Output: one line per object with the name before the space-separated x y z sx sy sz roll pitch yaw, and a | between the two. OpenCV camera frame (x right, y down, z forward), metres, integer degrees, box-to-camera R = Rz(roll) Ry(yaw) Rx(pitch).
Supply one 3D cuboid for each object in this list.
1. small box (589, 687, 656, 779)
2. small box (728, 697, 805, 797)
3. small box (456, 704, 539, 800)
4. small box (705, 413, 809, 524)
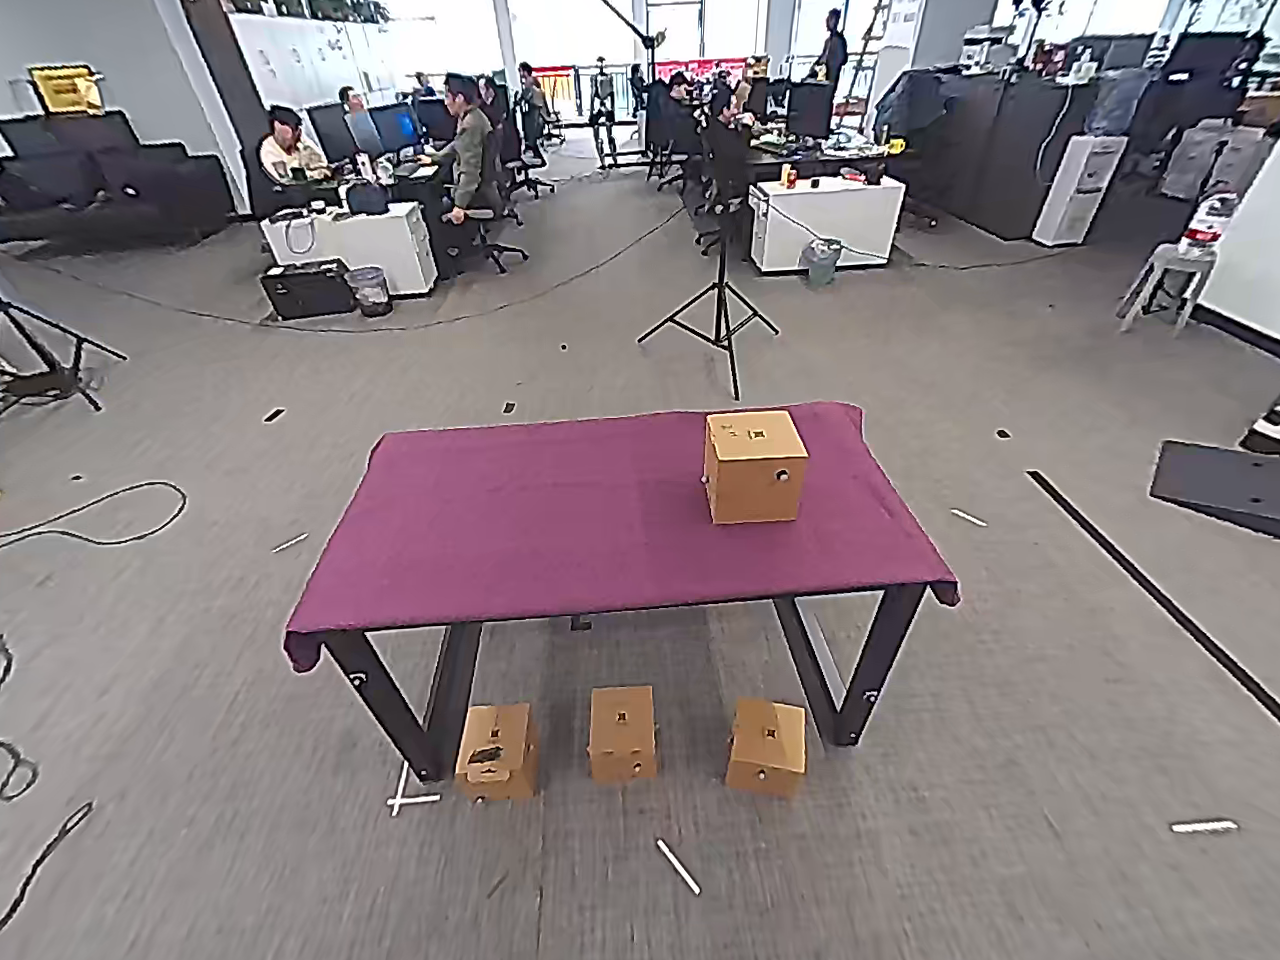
small box | -0.043 0.681 1.446 0.168 0.176 0.179 -2 38 -1
small box | 0.328 0.697 1.404 0.179 0.176 0.168 6 41 12
small box | -0.364 0.717 1.418 0.168 0.176 0.179 -4 38 -1
small box | 0.235 -0.023 1.135 0.179 0.176 0.168 -3 38 0
